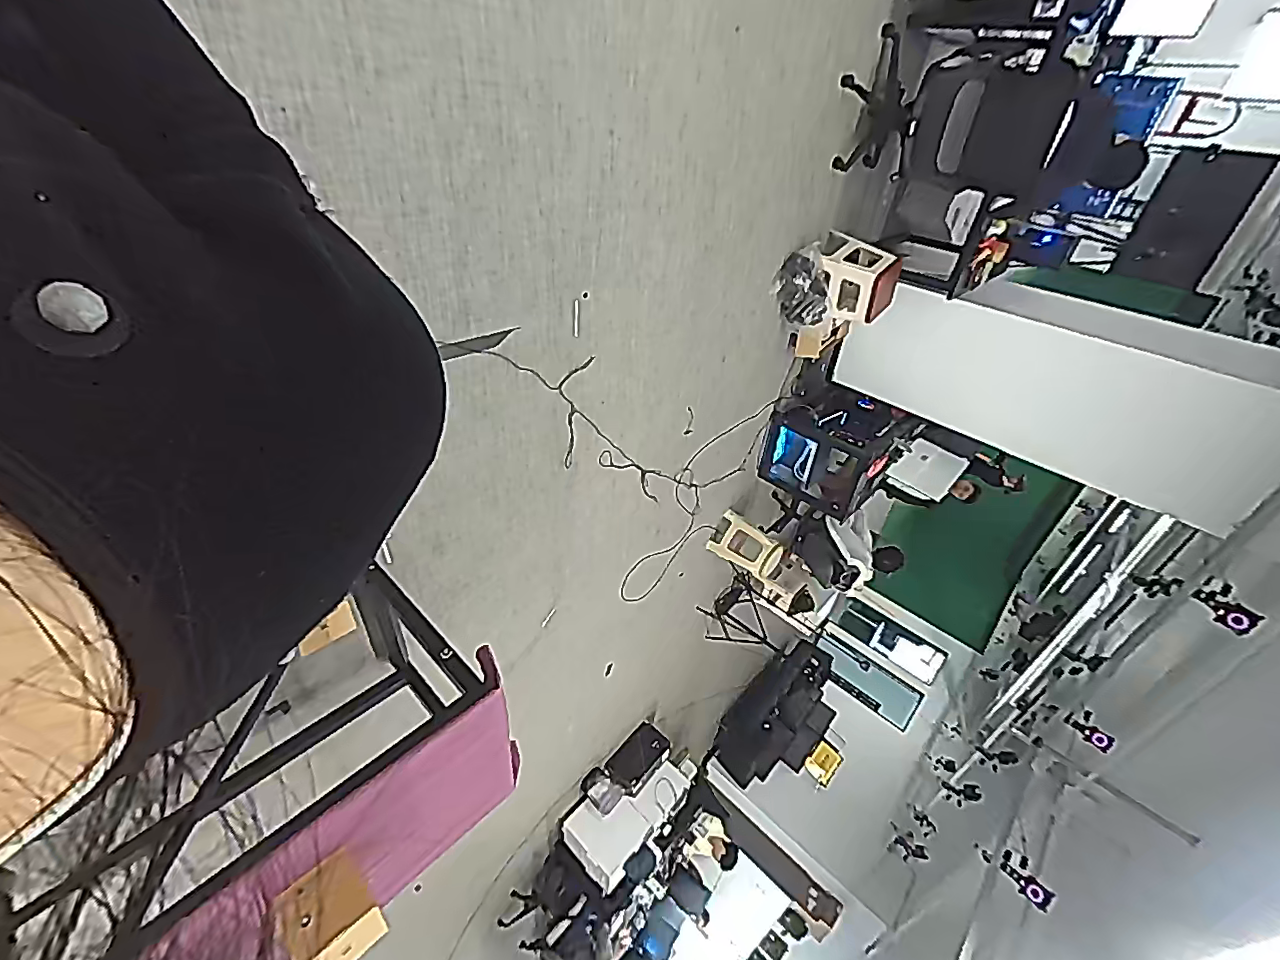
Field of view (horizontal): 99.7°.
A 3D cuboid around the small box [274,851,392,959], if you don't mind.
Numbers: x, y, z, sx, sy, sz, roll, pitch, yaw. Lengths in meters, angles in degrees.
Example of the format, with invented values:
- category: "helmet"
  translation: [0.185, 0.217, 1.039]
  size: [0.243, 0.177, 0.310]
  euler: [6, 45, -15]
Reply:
- category: "small box"
  translation: [-0.695, 0.994, 1.228]
  size: [0.168, 0.176, 0.179]
  euler: [-28, 140, -39]

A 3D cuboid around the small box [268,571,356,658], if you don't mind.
- category: "small box"
  translation: [-1.016, 0.405, 1.675]
  size: [0.168, 0.176, 0.179]
  euler: [-29, 140, -39]

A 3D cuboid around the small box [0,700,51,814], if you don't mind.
- category: "small box"
  translation: [-1.478, 0.641, 1.218]
  size: [0.179, 0.176, 0.168]
  euler: [-14, 128, -51]
